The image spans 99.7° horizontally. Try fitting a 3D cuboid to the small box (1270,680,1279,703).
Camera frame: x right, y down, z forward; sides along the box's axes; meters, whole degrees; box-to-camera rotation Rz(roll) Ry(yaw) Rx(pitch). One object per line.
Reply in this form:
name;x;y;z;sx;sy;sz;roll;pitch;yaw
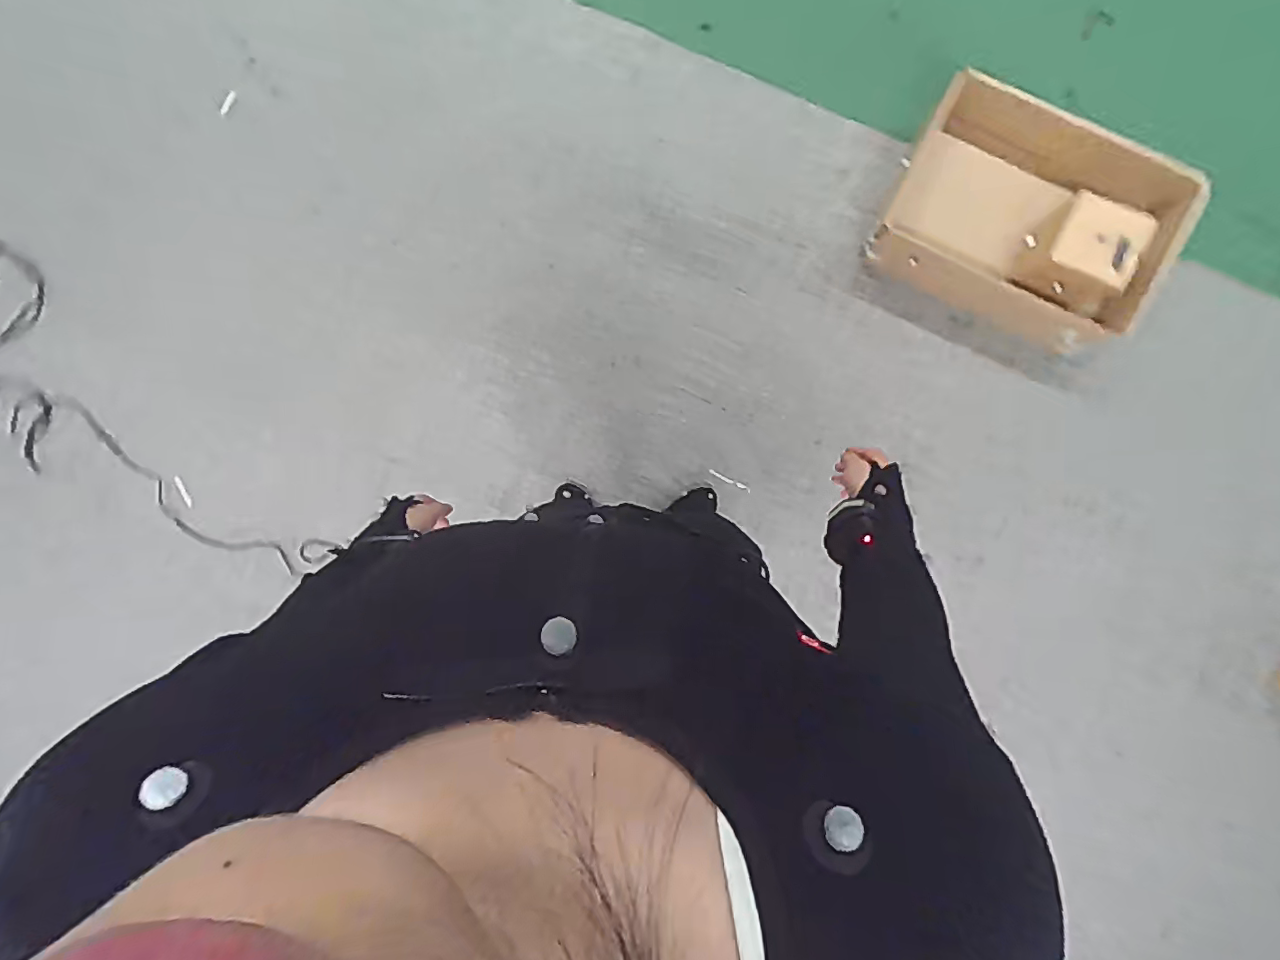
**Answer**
small box;1.760;0.552;1.337;0.179;0.176;0.168;37;94;1
